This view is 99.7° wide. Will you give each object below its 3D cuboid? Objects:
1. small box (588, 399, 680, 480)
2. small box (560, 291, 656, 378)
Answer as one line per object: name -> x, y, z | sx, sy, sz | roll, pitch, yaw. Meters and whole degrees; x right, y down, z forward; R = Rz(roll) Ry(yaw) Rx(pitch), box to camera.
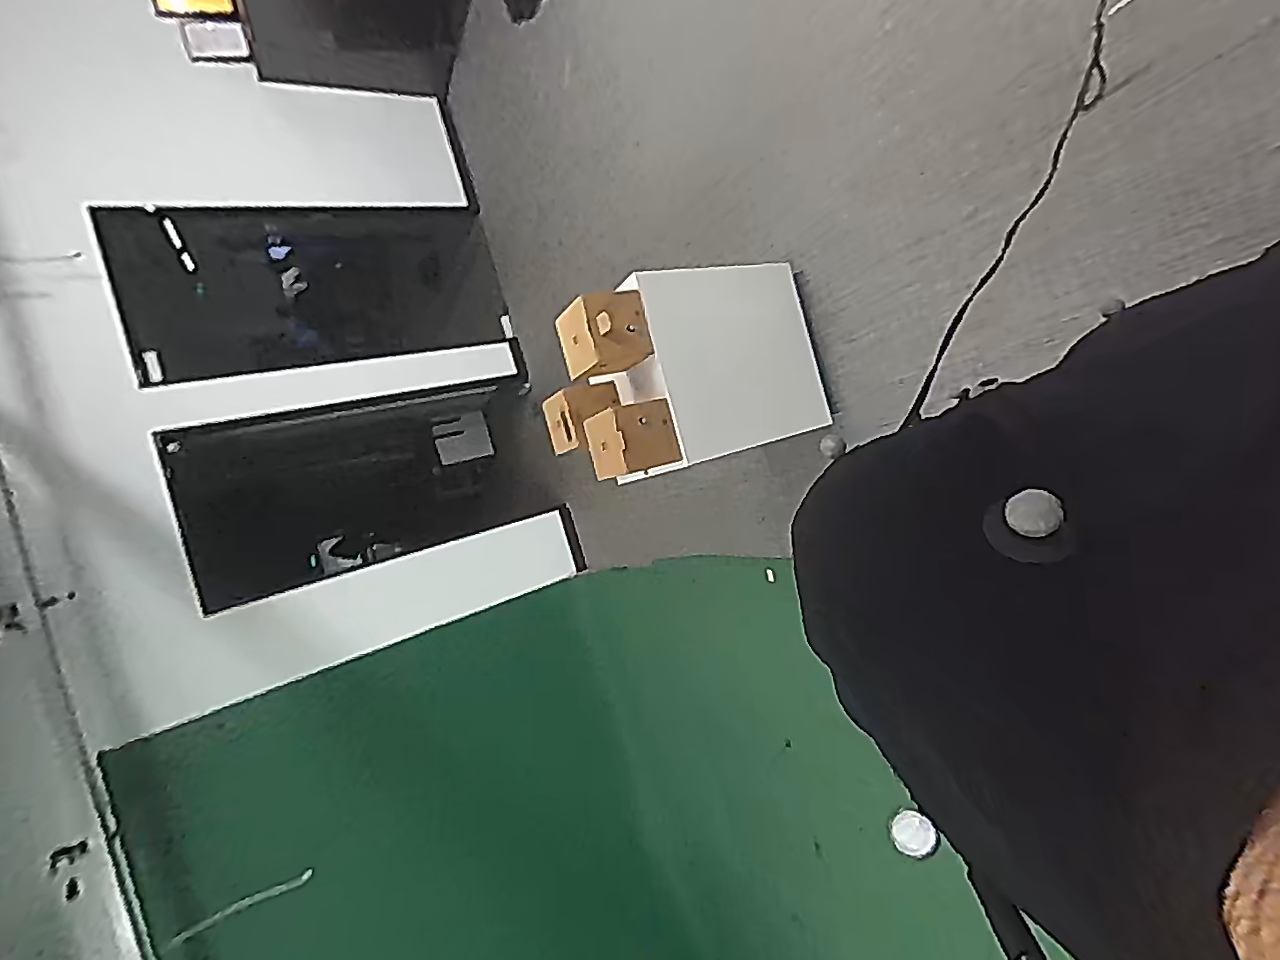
small box -> -0.010, -0.103, 1.392 | 0.179, 0.176, 0.168 | -12, 91, 63
small box -> -0.082, -0.370, 1.385 | 0.179, 0.176, 0.168 | -13, 93, 61
